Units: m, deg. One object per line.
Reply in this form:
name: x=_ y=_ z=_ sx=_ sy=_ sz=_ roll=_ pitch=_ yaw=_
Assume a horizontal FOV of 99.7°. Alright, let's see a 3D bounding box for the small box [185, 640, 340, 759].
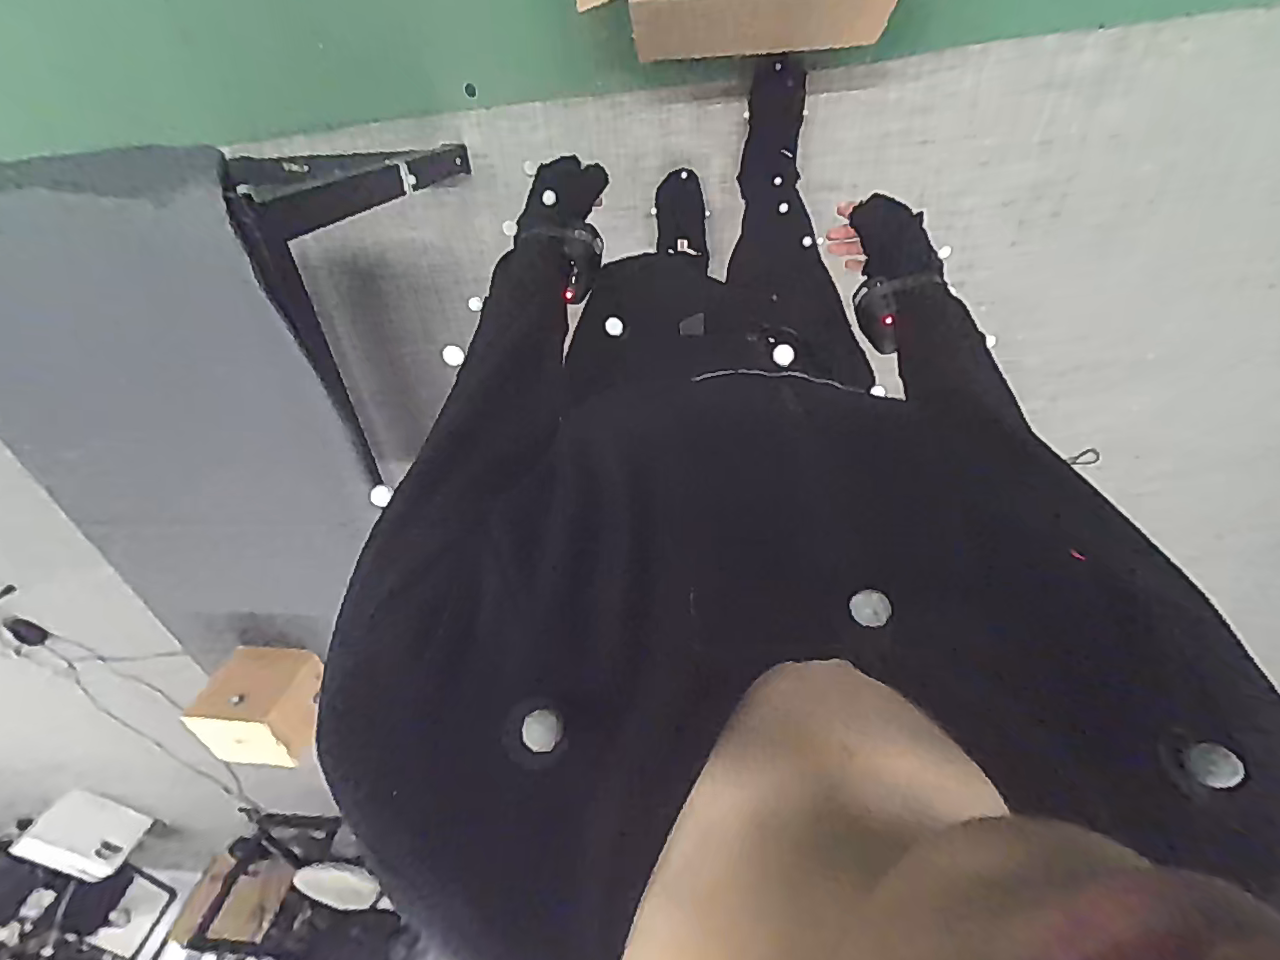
small box: x=-0.777 y=0.455 z=1.135 sx=0.179 sy=0.176 sz=0.168 roll=2 pitch=127 yaw=5
